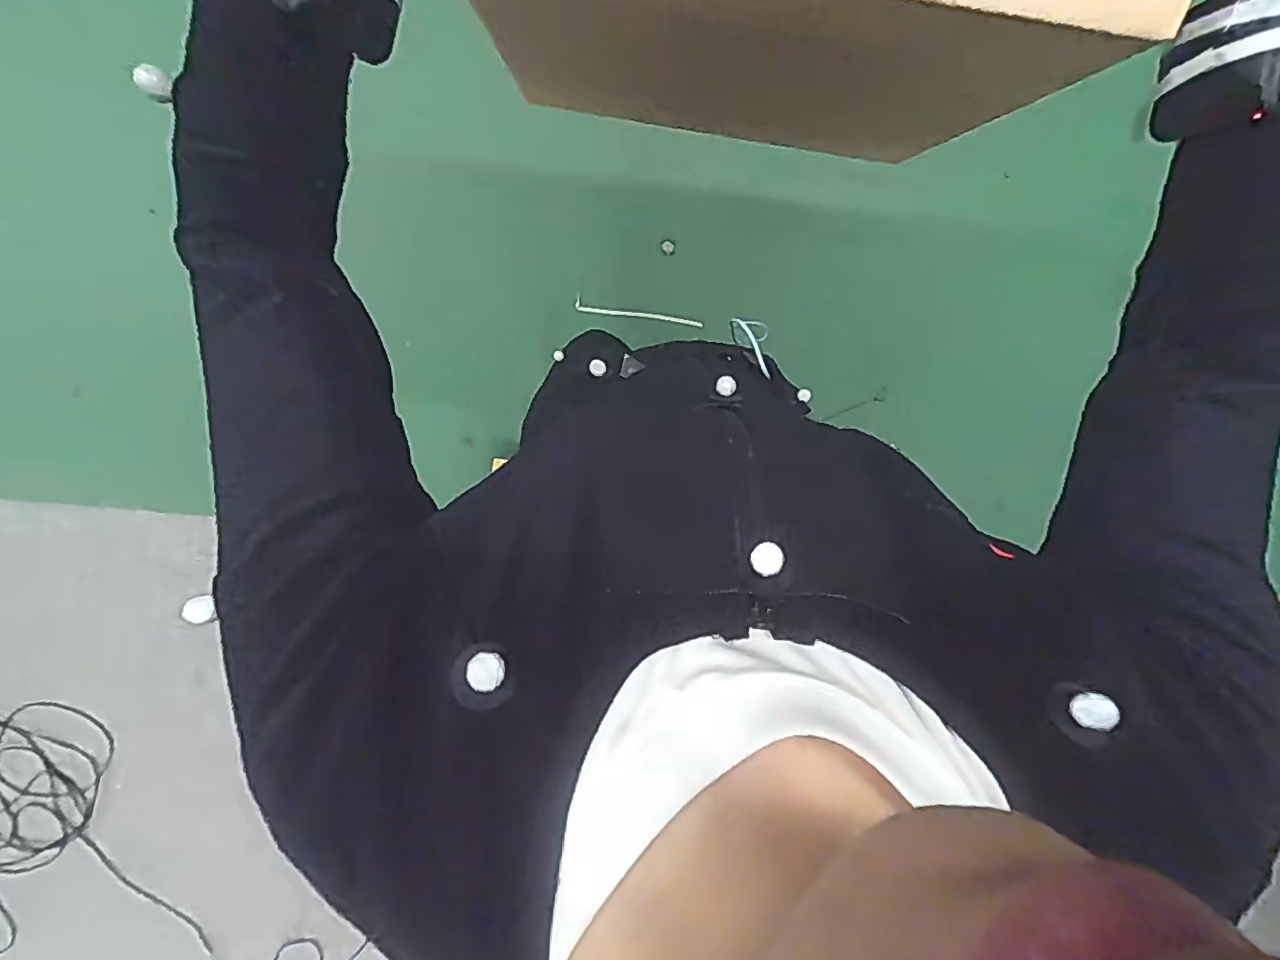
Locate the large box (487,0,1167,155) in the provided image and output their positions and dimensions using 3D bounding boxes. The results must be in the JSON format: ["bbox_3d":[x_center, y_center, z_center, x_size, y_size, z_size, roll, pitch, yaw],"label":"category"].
[{"bbox_3d":[0.104,-0.462,0.381,0.408,0.320,0.320,6,109,-5],"label":"large box"}]
